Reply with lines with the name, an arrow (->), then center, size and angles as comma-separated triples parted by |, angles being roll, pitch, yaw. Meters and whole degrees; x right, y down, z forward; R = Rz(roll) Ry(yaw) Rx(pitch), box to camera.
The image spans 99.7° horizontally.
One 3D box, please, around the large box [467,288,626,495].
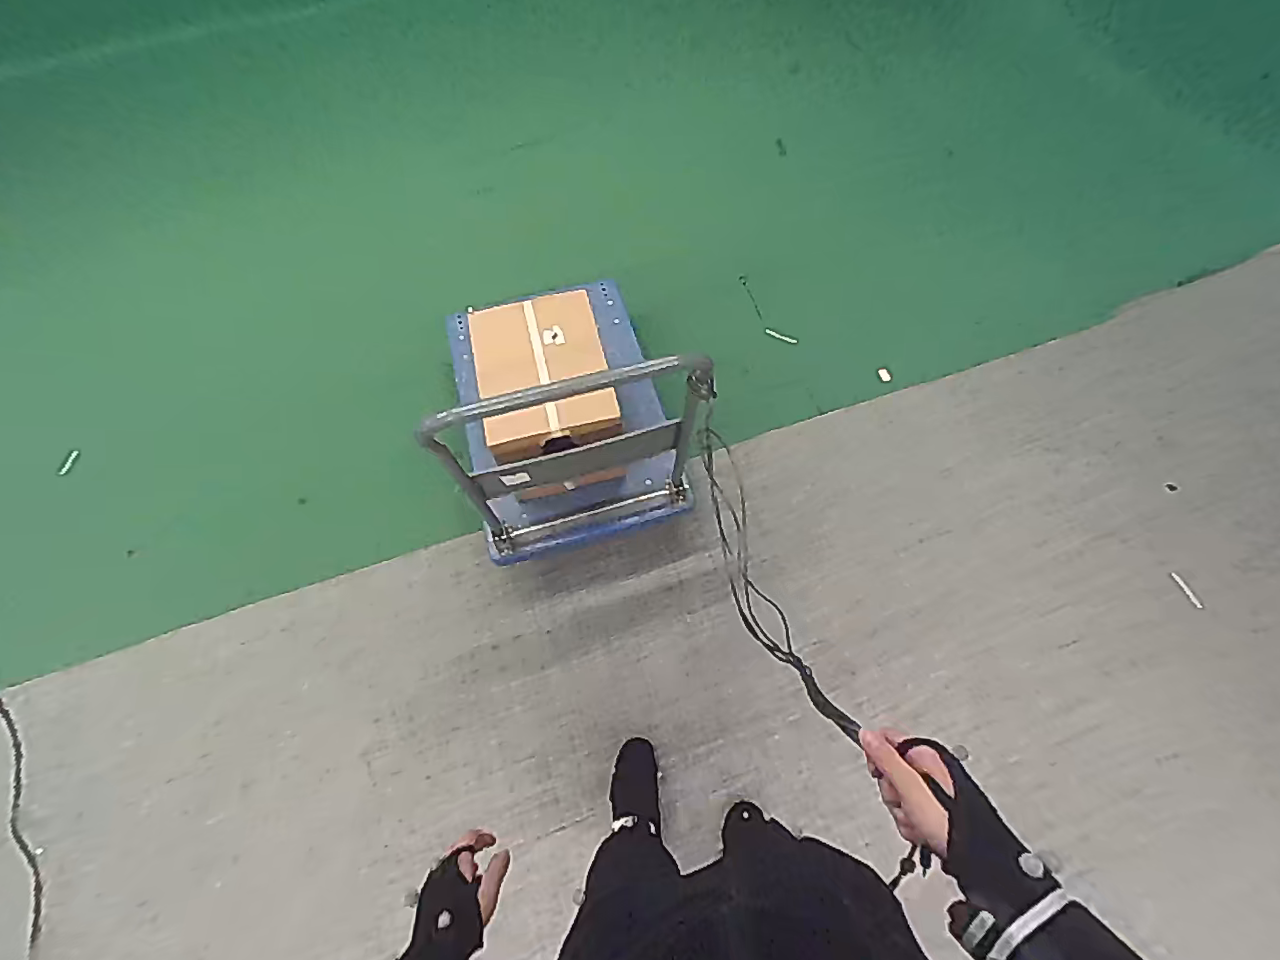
large box -> -0.238, -0.225, 1.431 | 0.320, 0.320, 0.408 | -13, 65, -6
